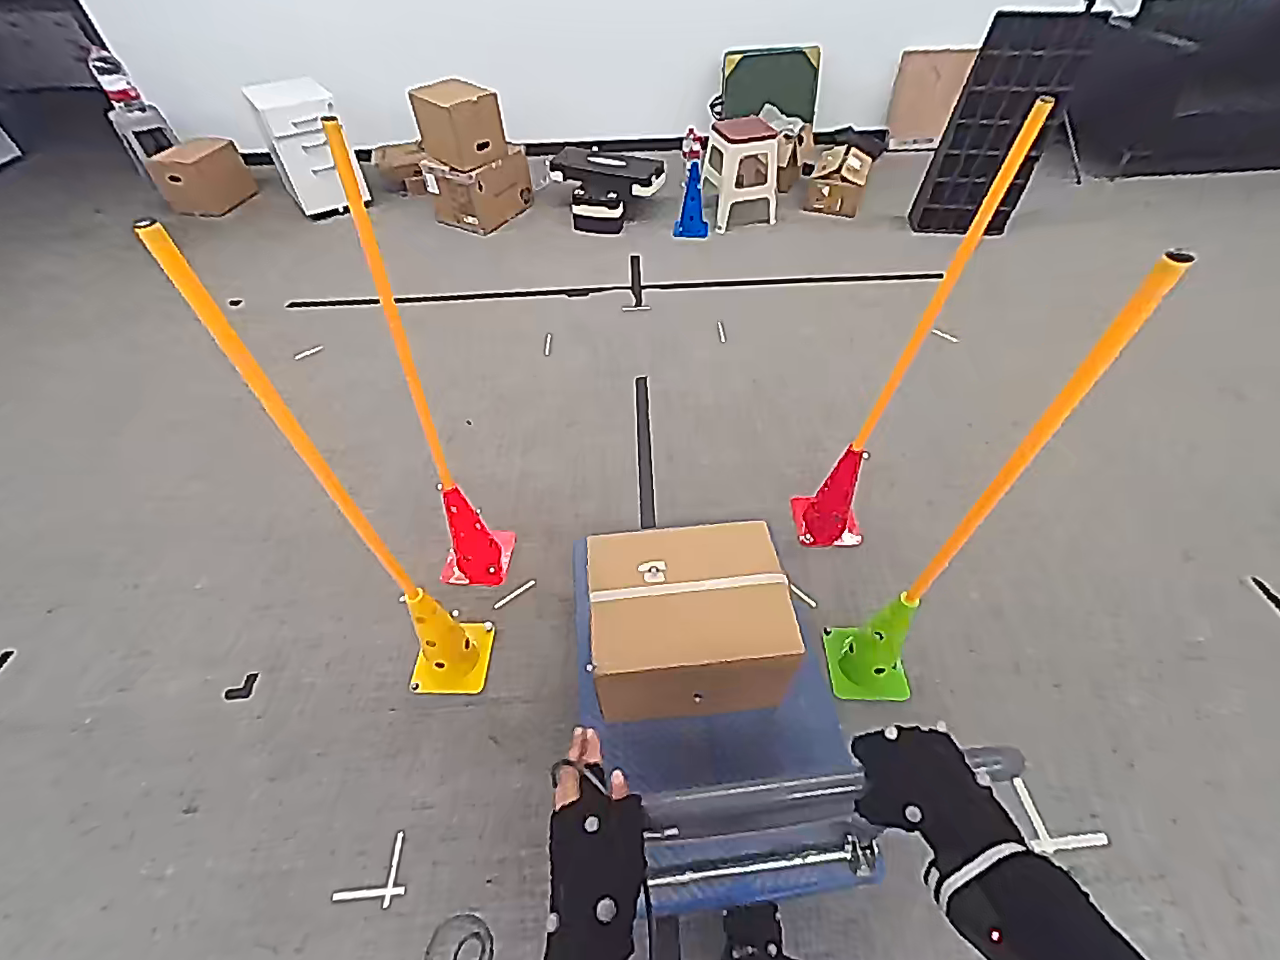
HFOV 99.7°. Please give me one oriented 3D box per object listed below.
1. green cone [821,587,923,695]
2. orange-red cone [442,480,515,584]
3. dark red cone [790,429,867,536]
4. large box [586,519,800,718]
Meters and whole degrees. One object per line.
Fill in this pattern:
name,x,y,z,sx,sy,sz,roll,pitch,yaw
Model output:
green cone,0.613,0.378,1.355,0.202,0.368,0.200,1,49,1
orange-red cone,-0.513,0.127,1.598,0.198,0.360,0.199,4,48,3
dark red cone,0.613,-0.002,1.657,0.201,0.394,0.202,-1,50,-2
large box,0.100,0.319,1.228,0.408,0.320,0.320,-6,50,-2
